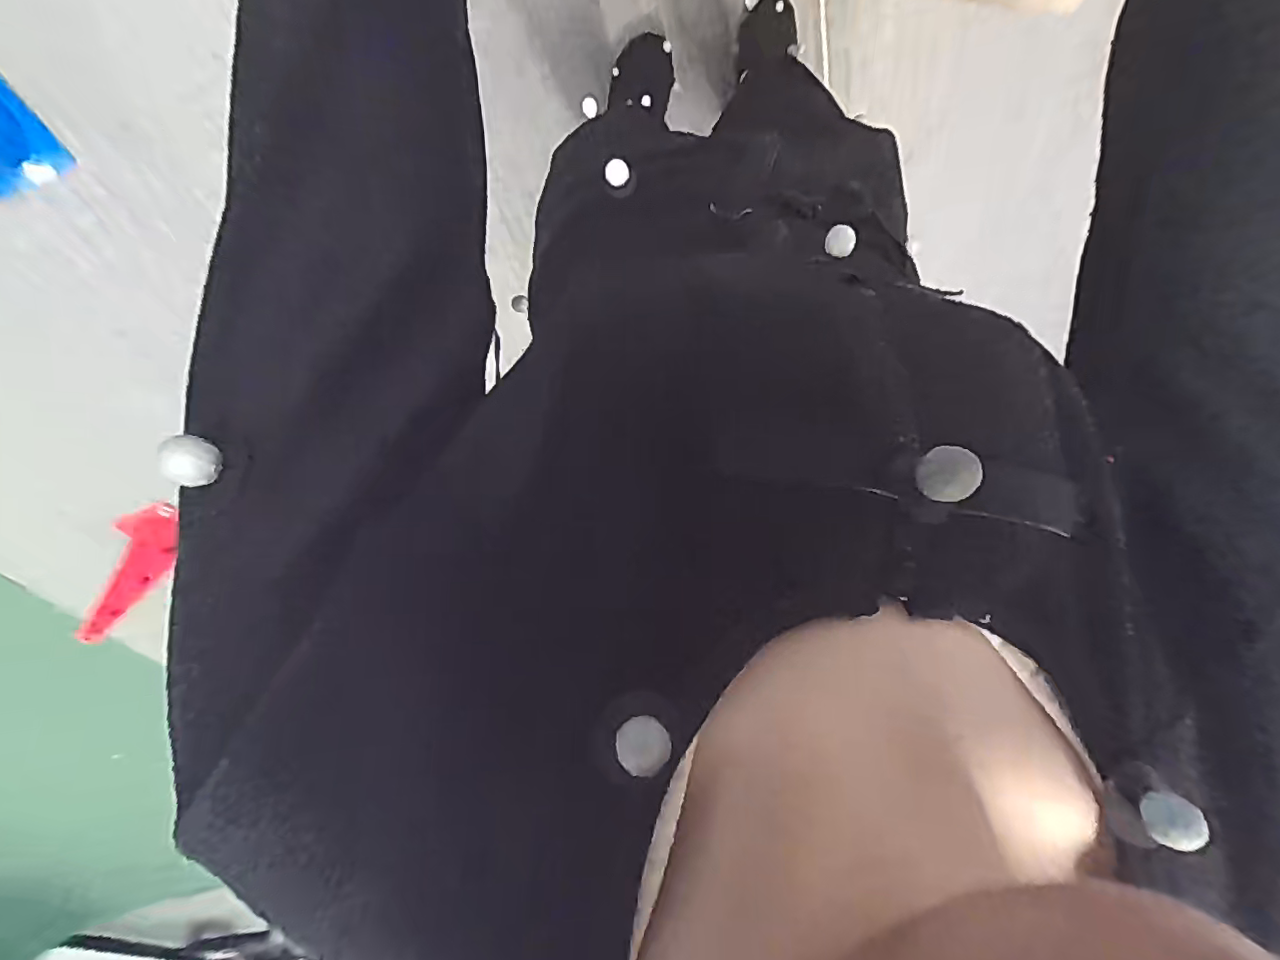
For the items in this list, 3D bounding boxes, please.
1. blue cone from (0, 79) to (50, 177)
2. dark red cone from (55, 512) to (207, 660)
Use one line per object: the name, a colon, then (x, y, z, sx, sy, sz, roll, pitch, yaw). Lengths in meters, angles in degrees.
blue cone: (-1.139, -0.530, 0.800, 0.193, 0.380, 0.192, -16, 130, 6)
dark red cone: (-1.360, 0.283, 1.408, 0.201, 0.394, 0.202, -20, 130, 13)
